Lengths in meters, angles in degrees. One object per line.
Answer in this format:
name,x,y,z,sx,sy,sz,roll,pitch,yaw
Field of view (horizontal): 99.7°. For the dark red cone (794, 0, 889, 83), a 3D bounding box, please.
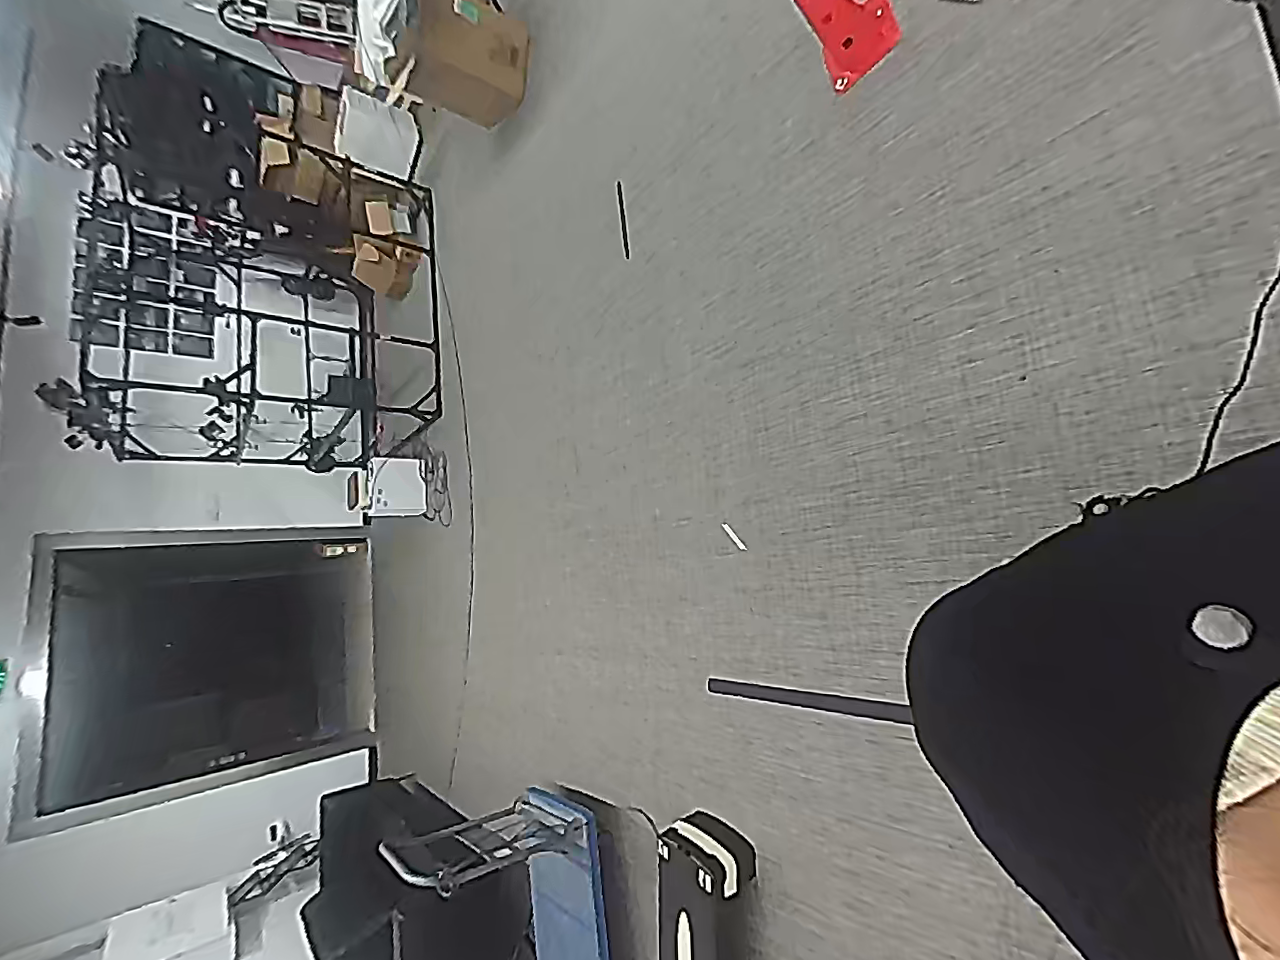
dark red cone,0.468,-1.275,1.429,0.201,0.394,0.202,-27,68,47
